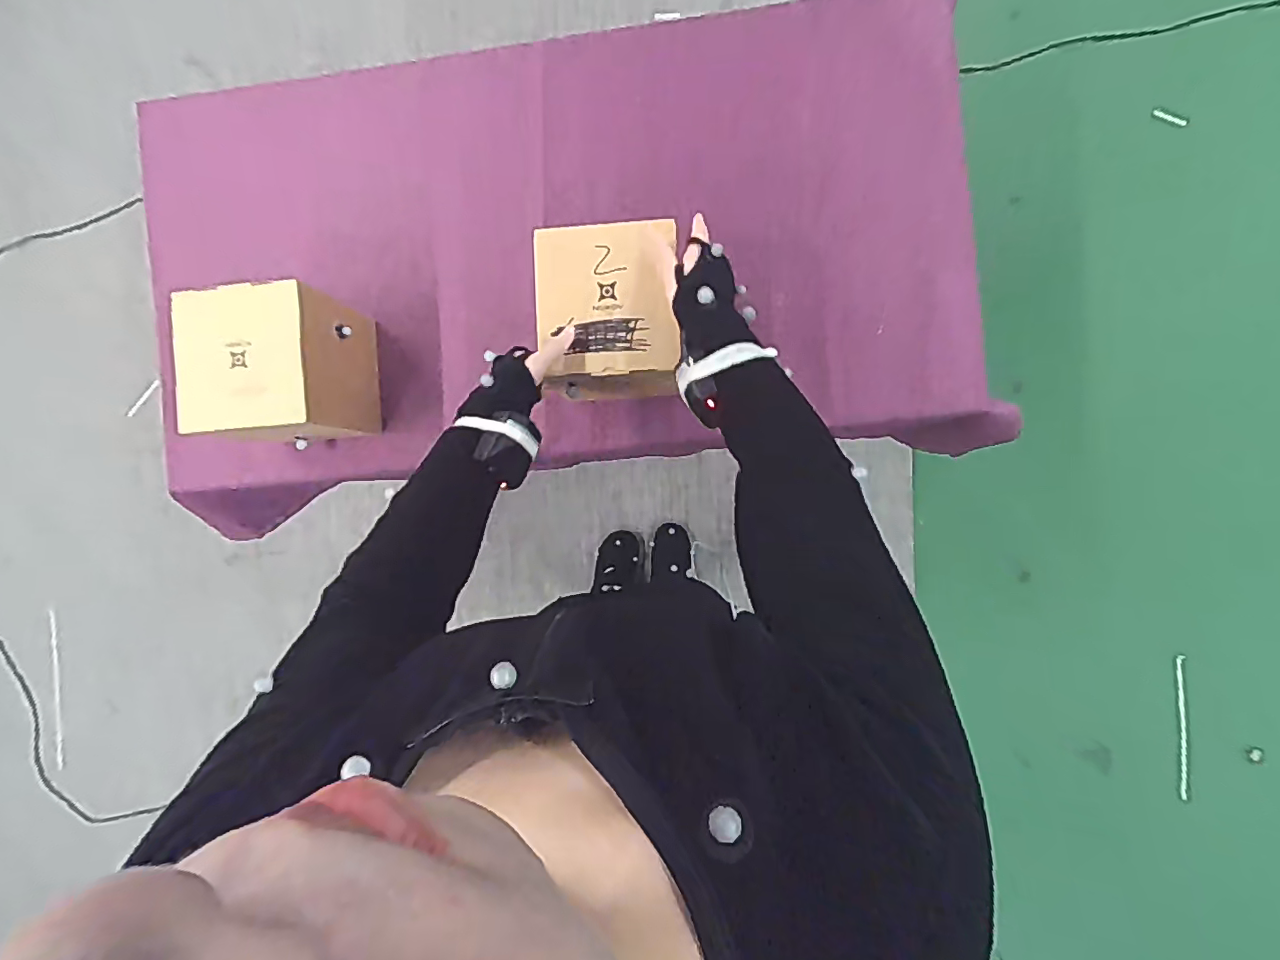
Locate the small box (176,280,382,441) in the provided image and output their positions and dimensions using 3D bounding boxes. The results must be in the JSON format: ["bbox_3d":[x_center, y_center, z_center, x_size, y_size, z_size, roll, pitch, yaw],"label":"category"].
[{"bbox_3d":[-0.475,-0.150,0.734,0.168,0.176,0.179,-4,90,5],"label":"small box"}]
